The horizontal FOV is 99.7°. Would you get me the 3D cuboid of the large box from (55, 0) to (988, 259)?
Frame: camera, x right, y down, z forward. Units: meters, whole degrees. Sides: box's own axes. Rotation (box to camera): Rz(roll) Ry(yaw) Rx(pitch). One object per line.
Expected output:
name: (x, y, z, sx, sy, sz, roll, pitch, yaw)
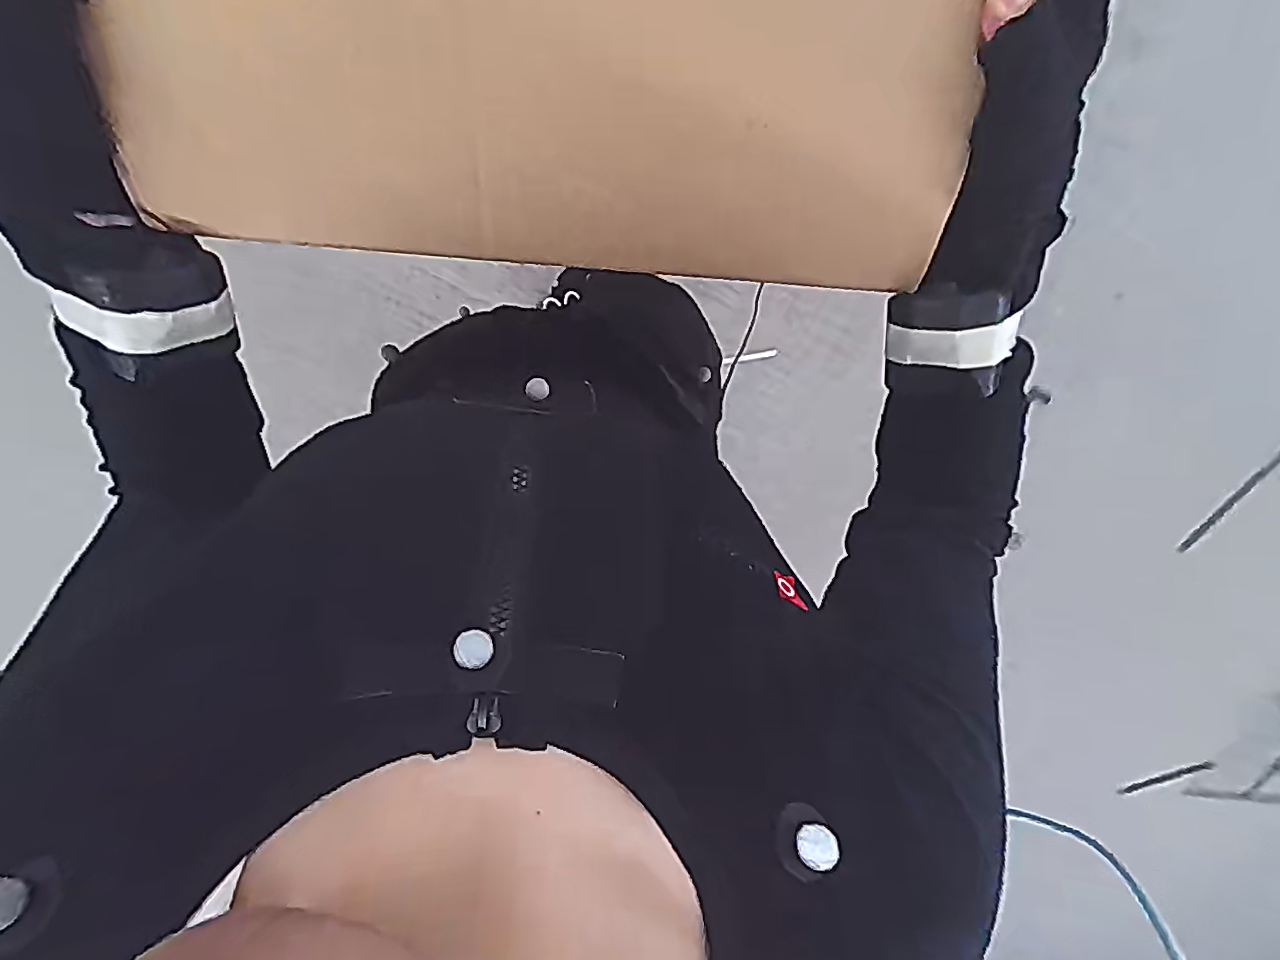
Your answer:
large box: (-0.045, -0.344, 0.312, 0.408, 0.320, 0.320, 2, 128, -6)
